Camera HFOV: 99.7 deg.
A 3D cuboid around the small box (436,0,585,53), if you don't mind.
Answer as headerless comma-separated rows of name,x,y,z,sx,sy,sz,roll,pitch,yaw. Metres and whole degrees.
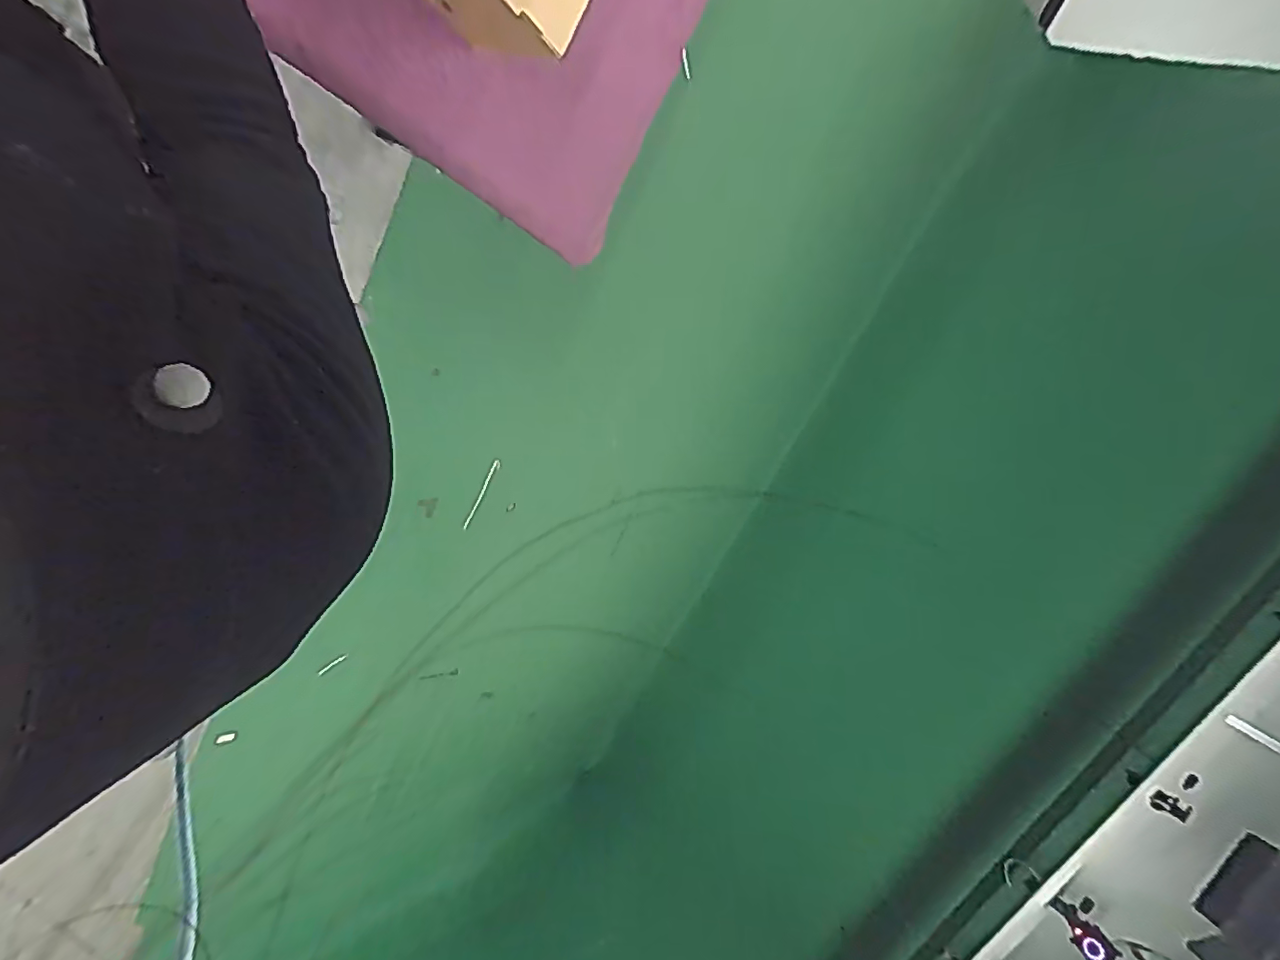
small box,-0.142,-0.574,0.529,0.168,0.176,0.179,14,109,-56
